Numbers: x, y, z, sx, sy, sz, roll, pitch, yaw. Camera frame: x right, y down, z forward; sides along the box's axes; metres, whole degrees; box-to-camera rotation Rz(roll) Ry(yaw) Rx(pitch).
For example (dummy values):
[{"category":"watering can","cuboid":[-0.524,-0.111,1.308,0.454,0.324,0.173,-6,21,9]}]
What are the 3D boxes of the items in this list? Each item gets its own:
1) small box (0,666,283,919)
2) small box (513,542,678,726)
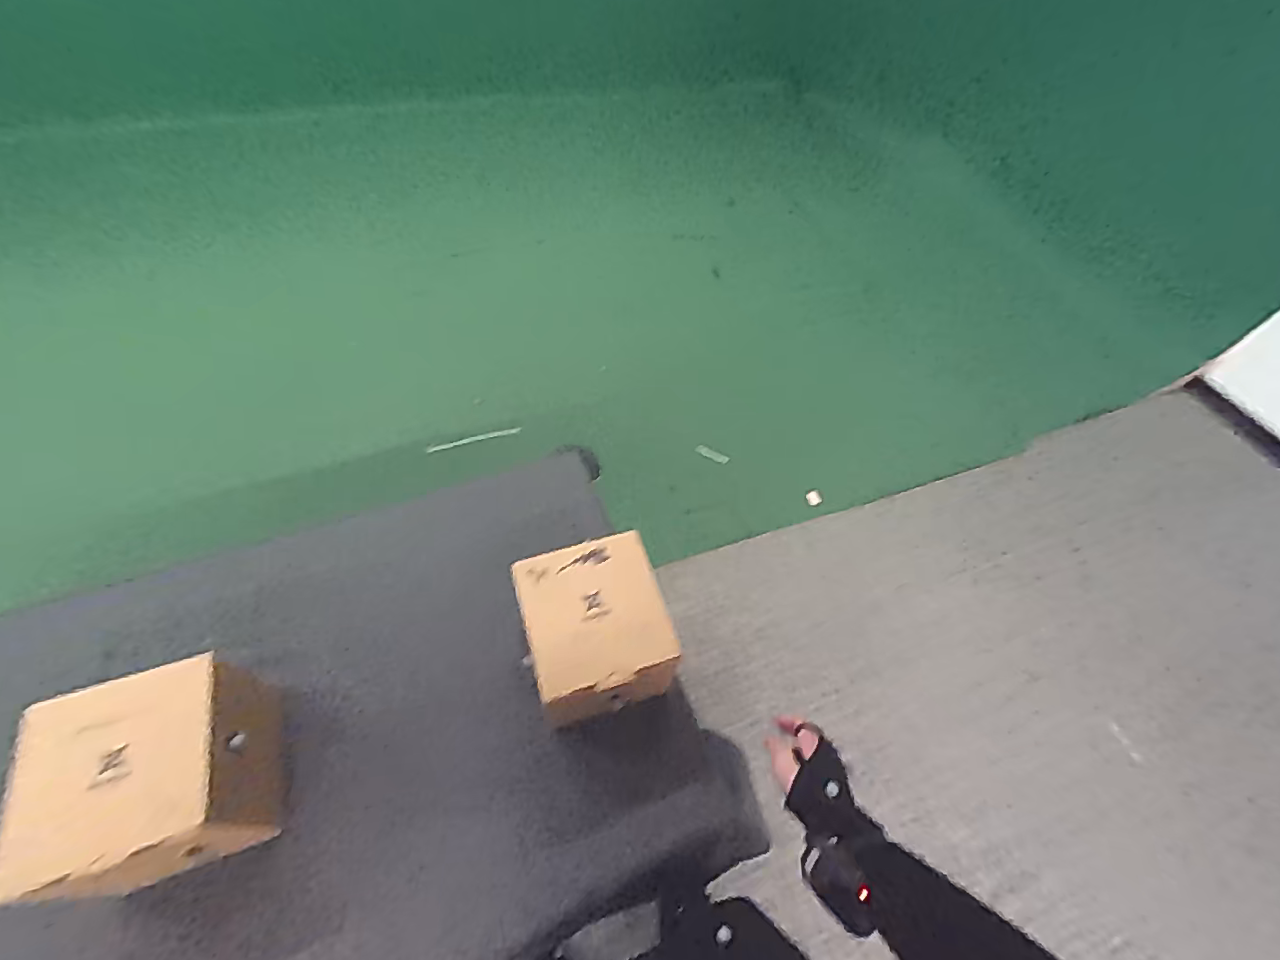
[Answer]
[{"category":"small box","cuboid":[-0.518,0.335,0.594,0.168,0.176,0.179,-15,58,-17]},{"category":"small box","cuboid":[-0.061,0.211,0.719,0.168,0.176,0.179,-14,59,-14]}]
